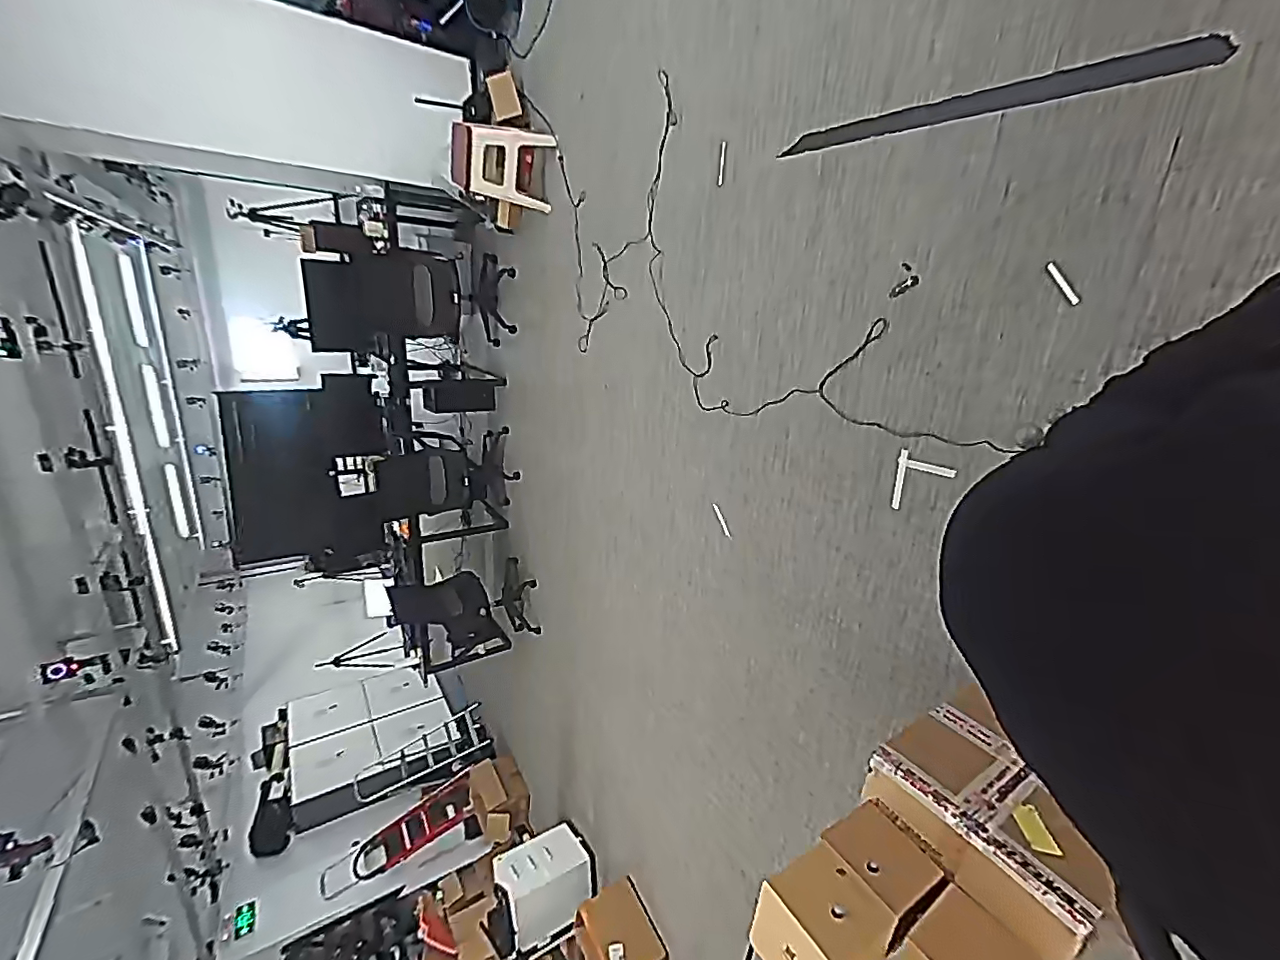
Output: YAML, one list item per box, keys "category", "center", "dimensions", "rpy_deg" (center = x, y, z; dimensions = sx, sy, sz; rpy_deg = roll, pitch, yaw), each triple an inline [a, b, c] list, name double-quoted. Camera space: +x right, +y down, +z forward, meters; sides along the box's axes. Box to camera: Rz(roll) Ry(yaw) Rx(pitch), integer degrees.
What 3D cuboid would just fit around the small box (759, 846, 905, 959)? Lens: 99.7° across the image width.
- category: "small box"
  center: [0.344, 0.815, 0.972]
  dimensions: [0.168, 0.176, 0.179]
  rpy_deg: [32, 123, 52]
